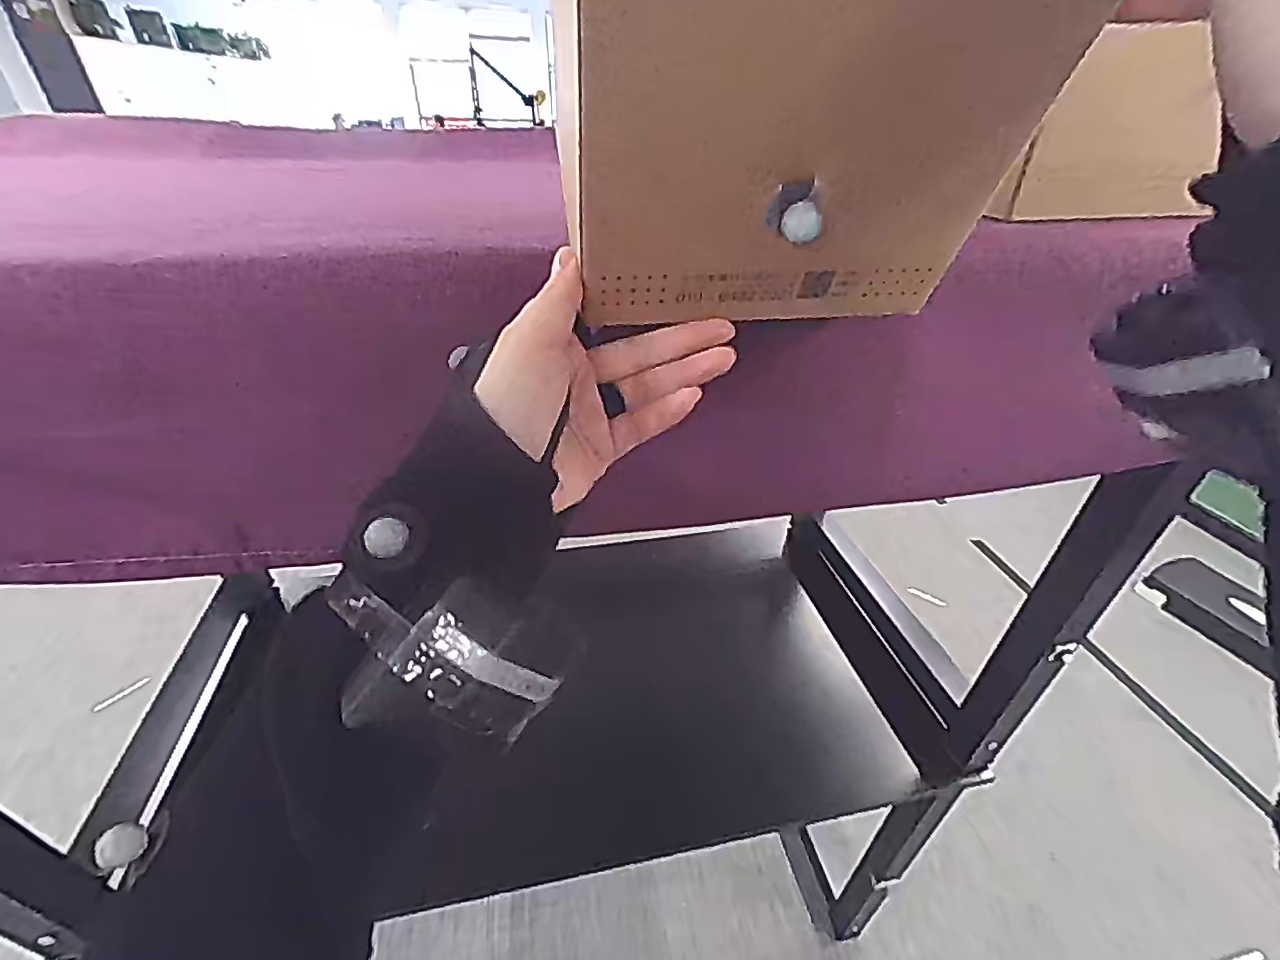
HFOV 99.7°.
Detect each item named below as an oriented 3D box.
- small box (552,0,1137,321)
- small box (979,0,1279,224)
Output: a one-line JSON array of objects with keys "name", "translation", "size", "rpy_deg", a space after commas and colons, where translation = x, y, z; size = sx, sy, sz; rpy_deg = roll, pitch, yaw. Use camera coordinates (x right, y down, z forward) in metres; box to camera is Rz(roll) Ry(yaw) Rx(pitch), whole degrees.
[{"name": "small box", "translation": [0.050, -0.188, 0.219], "size": [0.168, 0.176, 0.179], "rpy_deg": [-5, 61, -9]}, {"name": "small box", "translation": [0.306, -0.285, 0.377], "size": [0.179, 0.176, 0.168], "rpy_deg": [-6, 35, -8]}]
